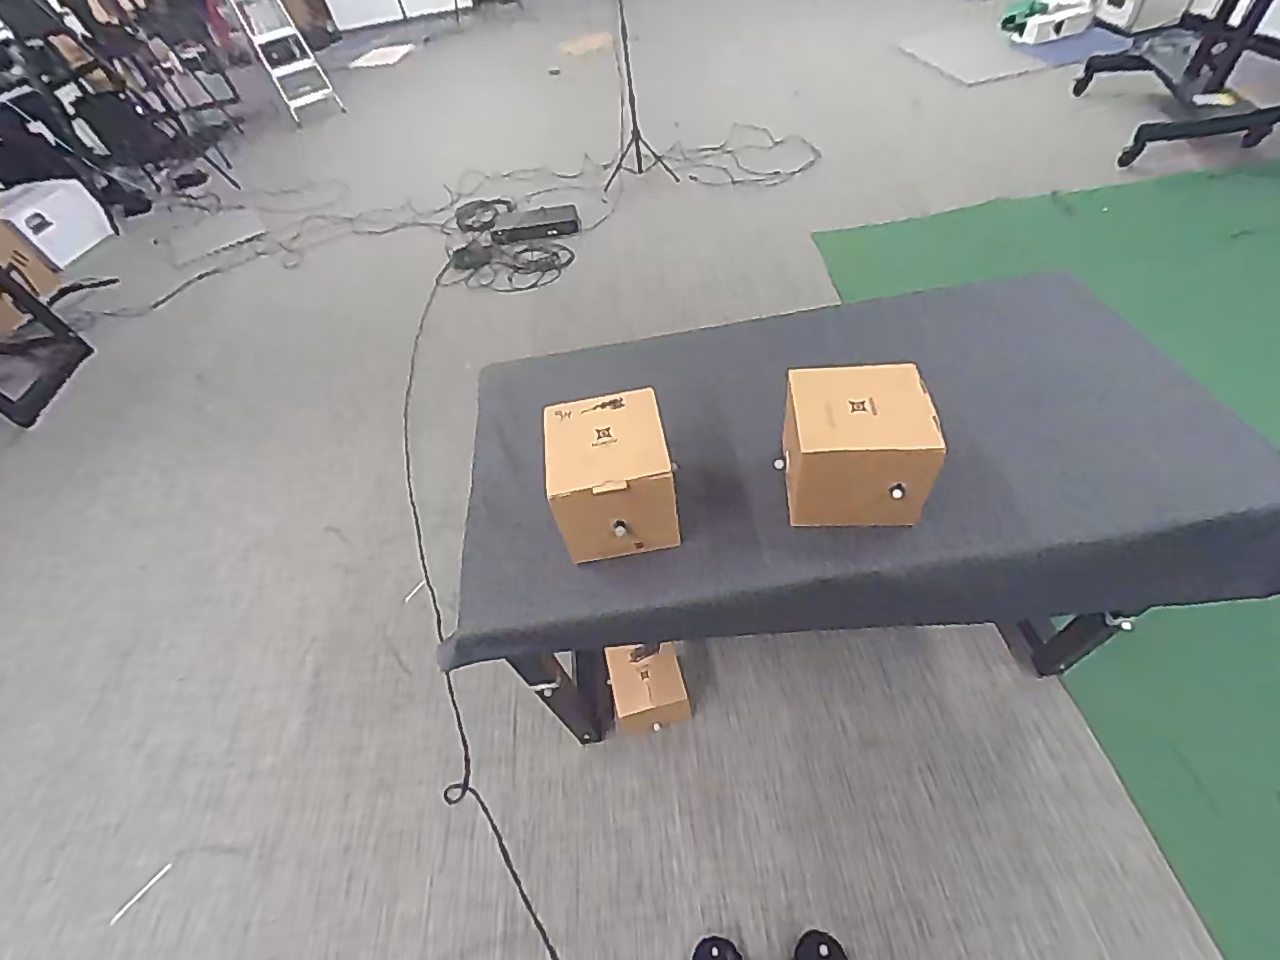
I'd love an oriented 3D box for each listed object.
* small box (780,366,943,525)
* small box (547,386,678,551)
[{"bbox_3d":[0.306,-0.046,0.789,0.179,0.176,0.168,-2,50,8],"label":"small box"},{"bbox_3d":[-0.039,-0.009,0.807,0.168,0.176,0.179,-10,50,0],"label":"small box"}]
